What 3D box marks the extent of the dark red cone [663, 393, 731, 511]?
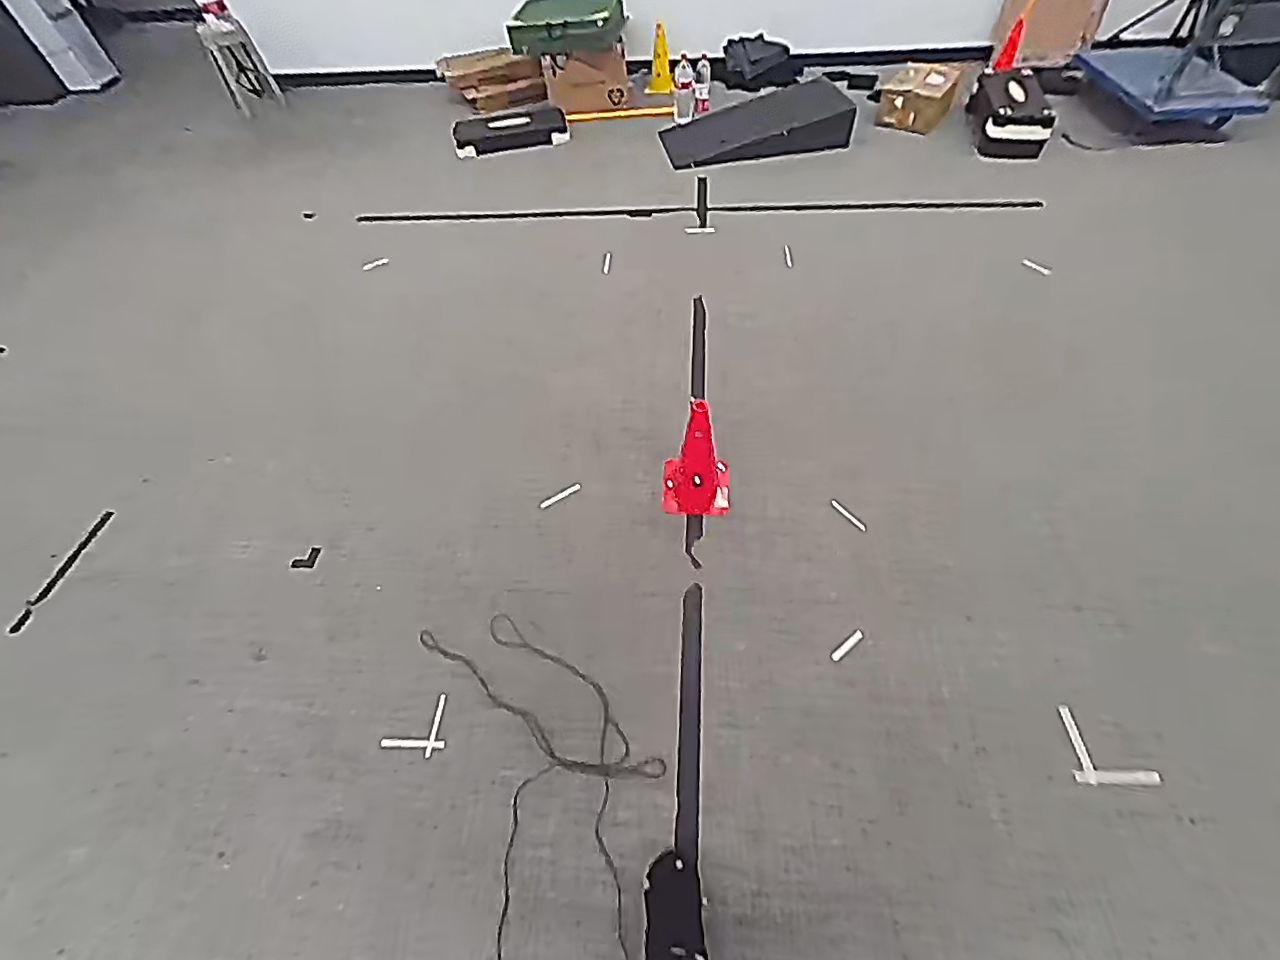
[{"bbox_3d":[0.160,-0.092,1.500,0.201,0.394,0.202,0,54,5],"label":"dark red cone"}]
